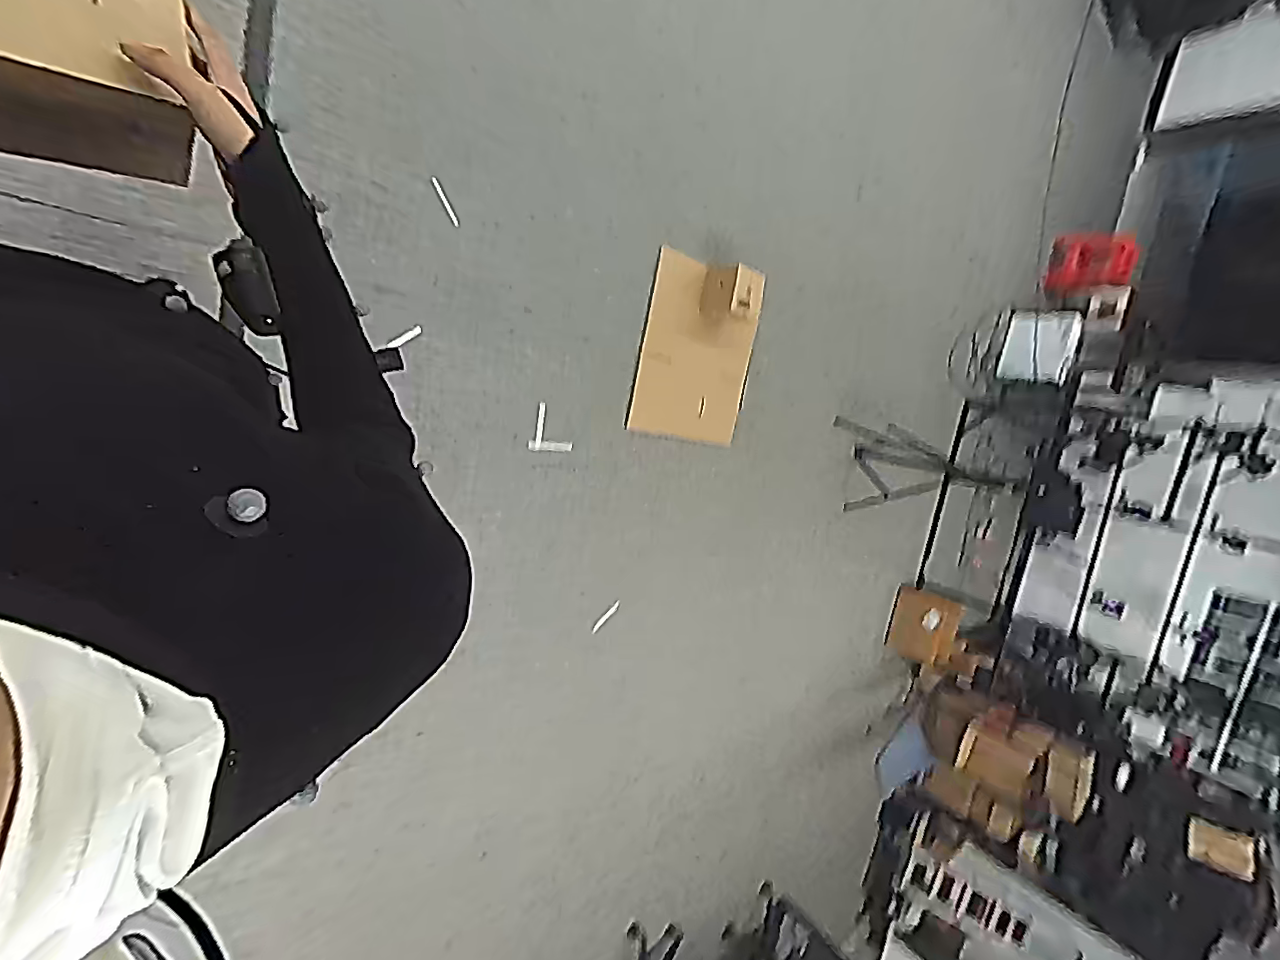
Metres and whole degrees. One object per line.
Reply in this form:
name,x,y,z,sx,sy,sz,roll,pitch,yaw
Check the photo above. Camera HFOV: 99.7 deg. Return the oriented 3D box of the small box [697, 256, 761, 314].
small box,0.346,-0.763,2.136,0.168,0.176,0.179,4,99,-41
